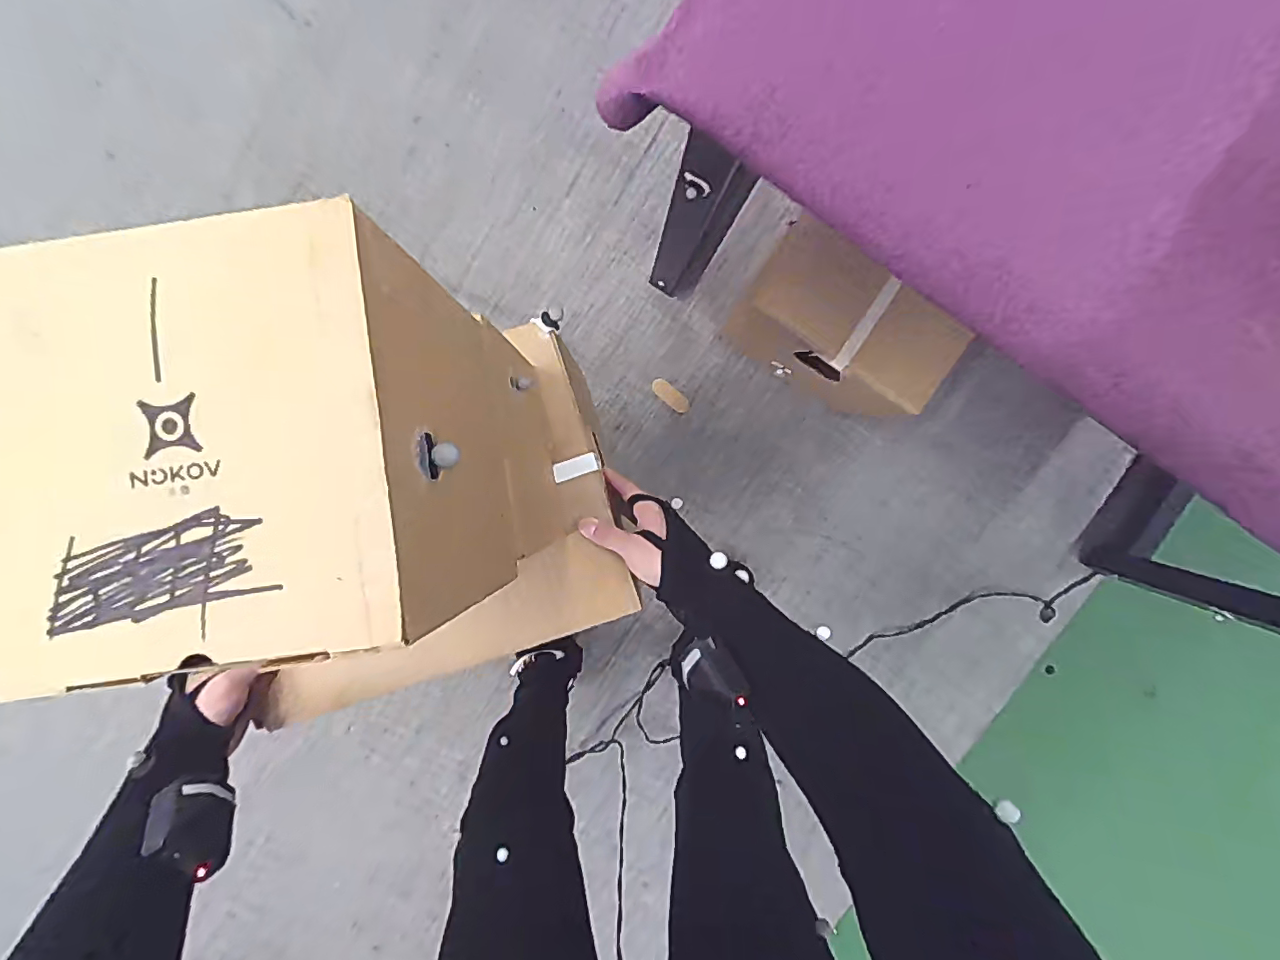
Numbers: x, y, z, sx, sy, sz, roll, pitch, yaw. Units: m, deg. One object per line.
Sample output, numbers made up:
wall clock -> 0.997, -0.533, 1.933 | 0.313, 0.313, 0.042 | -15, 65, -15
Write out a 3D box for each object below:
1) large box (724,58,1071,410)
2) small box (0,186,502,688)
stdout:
large box -> 0.398, -0.370, 0.940 | 0.320, 0.320, 0.408 | 32, 94, -7
small box -> -0.181, -0.015, 0.285 | 0.168, 0.176, 0.179 | -8, 88, 1
